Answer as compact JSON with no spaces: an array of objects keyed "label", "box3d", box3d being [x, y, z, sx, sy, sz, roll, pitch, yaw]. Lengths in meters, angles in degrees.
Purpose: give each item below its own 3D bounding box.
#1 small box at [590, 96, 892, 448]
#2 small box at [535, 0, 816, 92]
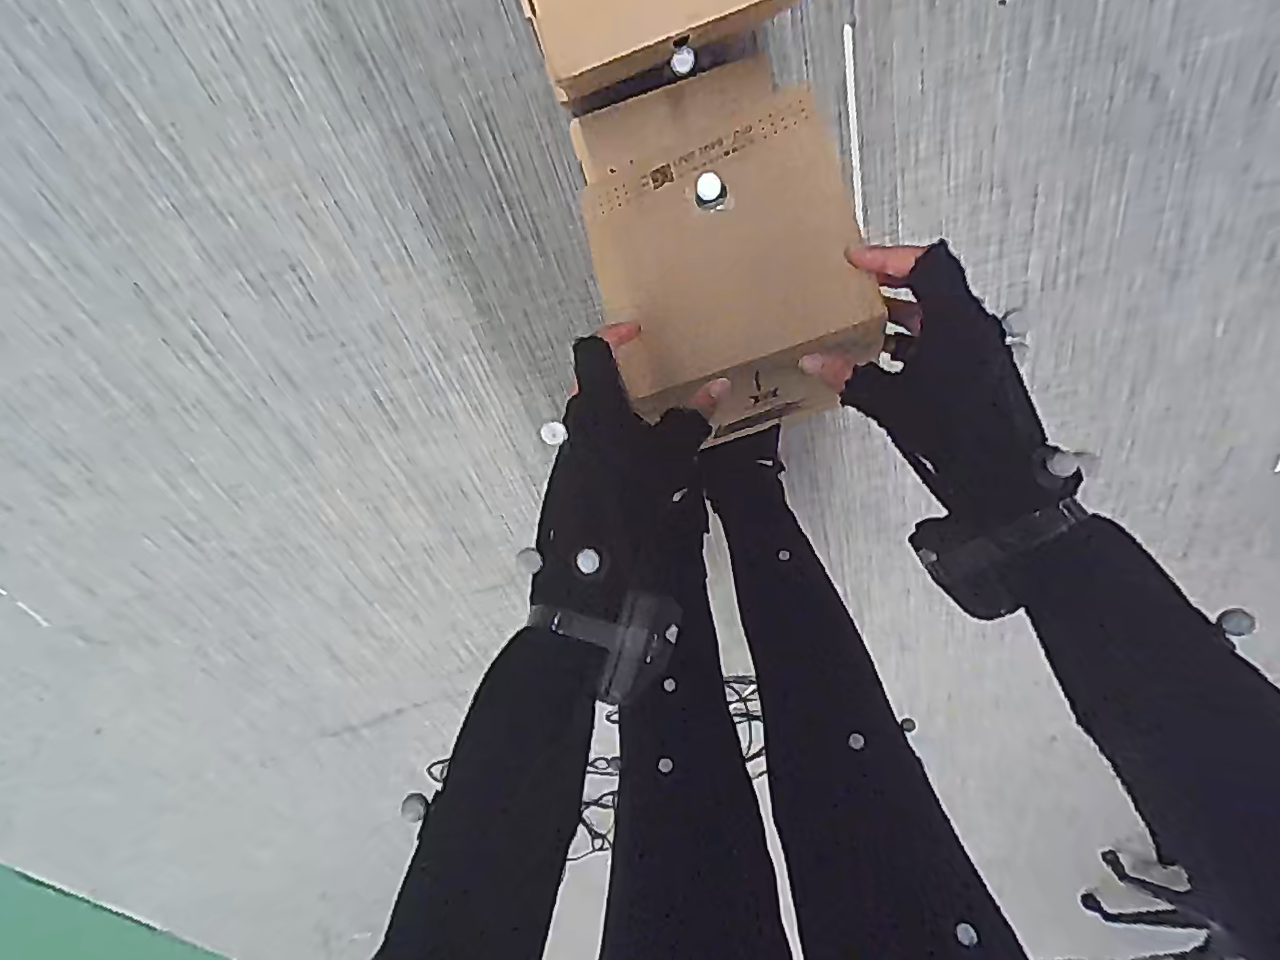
[{"label":"small box","box3d":[0.078,-0.138,0.422,0.168,0.176,0.179,-16,167,17]},{"label":"small box","box3d":[0.010,-0.362,0.330,0.179,0.176,0.168,-16,123,8]}]
